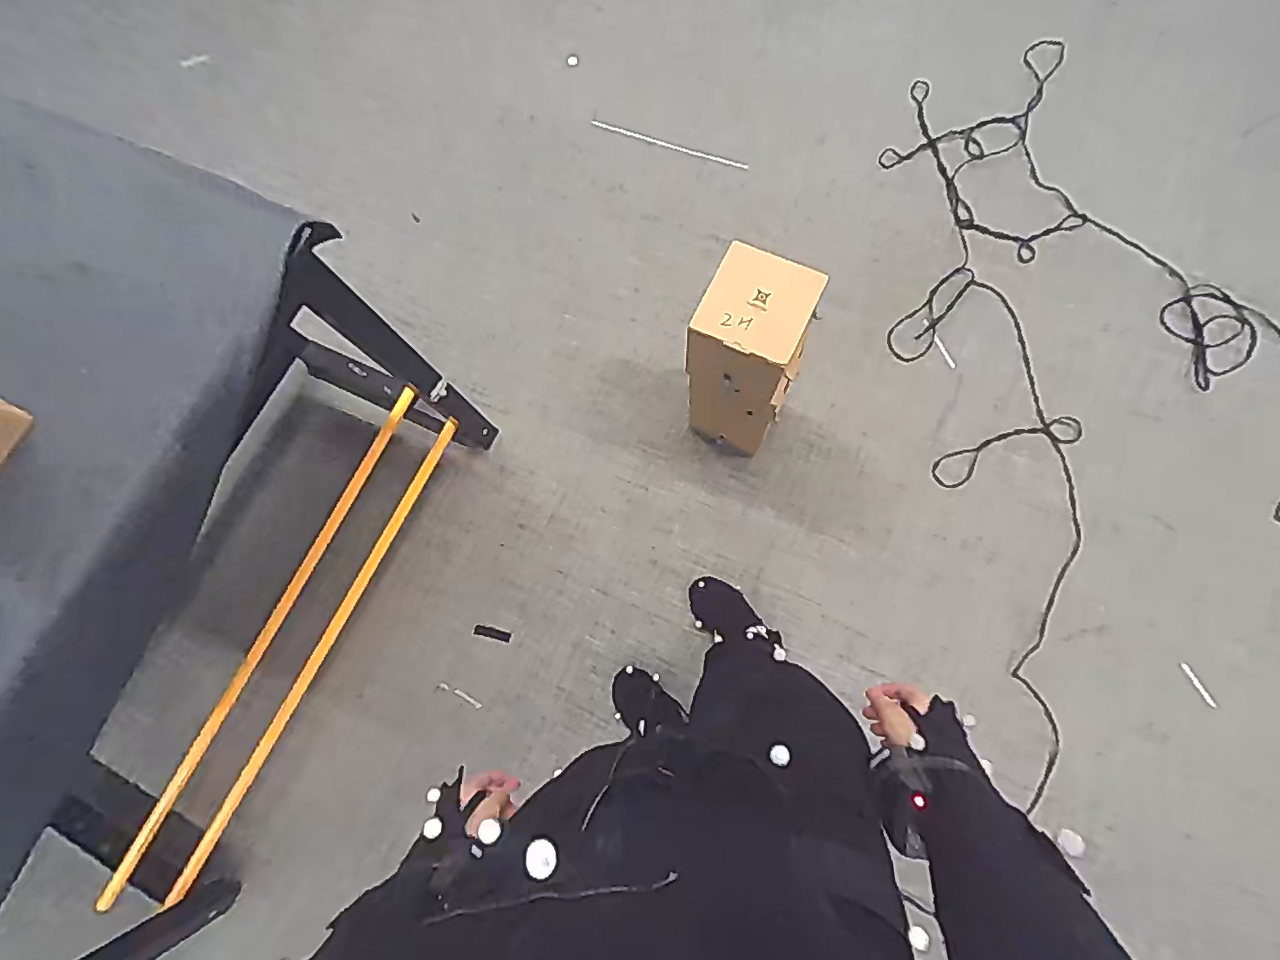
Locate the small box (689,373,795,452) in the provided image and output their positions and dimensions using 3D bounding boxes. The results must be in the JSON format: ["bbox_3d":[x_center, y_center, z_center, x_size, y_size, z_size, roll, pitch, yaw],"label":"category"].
[{"bbox_3d":[0.224,-0.180,1.234,0.179,0.176,0.168,27,79,9],"label":"small box"}]

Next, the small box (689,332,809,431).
[{"bbox_3d":[0.209,-0.215,1.077,0.179,0.176,0.168,23,78,10],"label":"small box"}]

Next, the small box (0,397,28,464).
[{"bbox_3d":[-0.799,-0.052,0.536,0.179,0.176,0.168,24,79,11],"label":"small box"}]

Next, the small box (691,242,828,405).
[{"bbox_3d":[0.191,-0.257,0.919,0.168,0.176,0.179,25,79,10],"label":"small box"}]
